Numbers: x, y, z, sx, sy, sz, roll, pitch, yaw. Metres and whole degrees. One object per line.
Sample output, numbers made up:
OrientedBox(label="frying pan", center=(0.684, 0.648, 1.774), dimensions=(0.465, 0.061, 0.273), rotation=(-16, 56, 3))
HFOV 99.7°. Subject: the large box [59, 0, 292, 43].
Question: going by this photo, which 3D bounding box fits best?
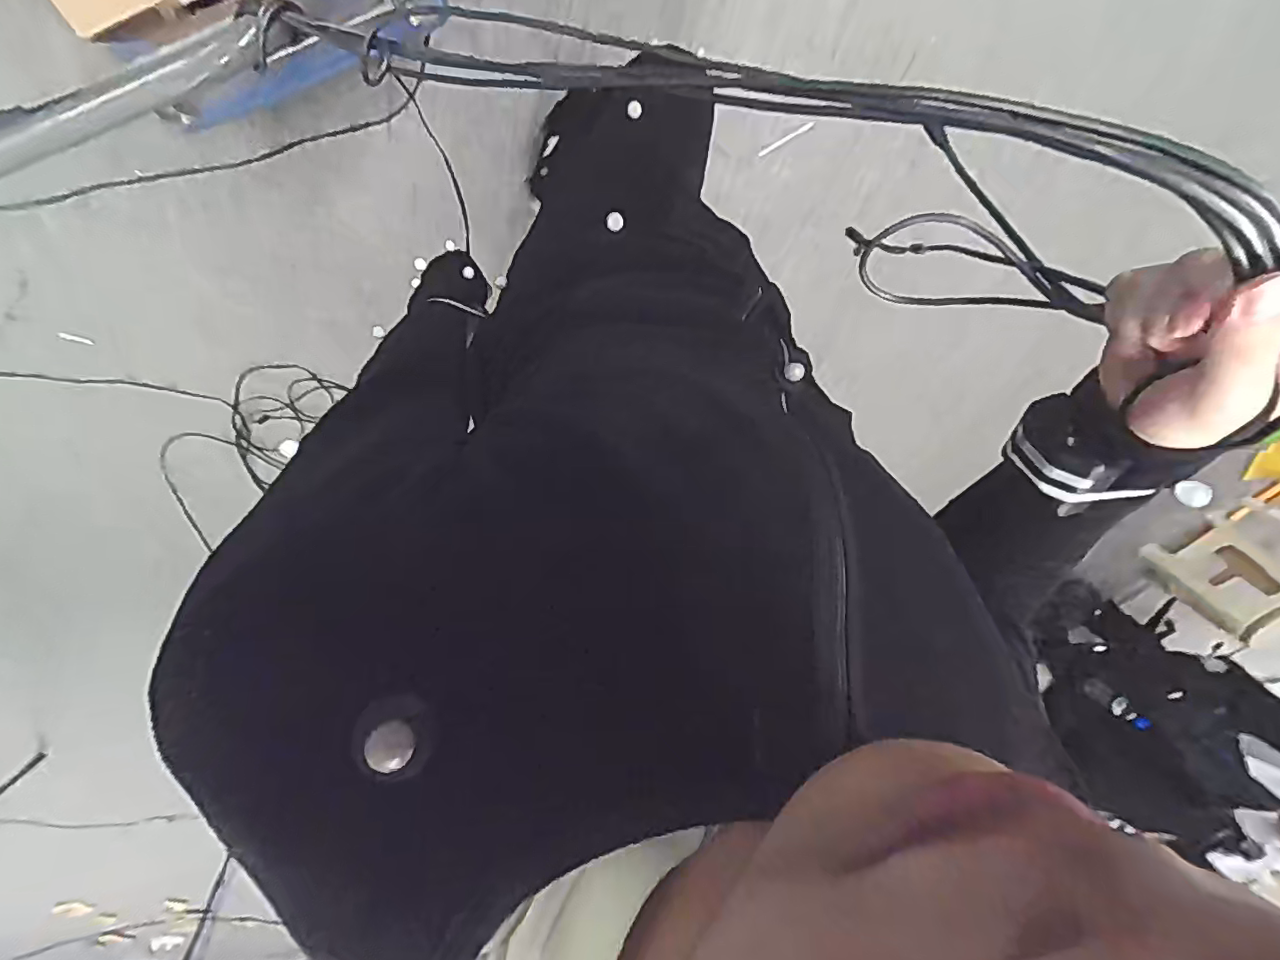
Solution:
OrientedBox(label="large box", center=(-0.667, -0.869, 0.696), dimensions=(0.320, 0.320, 0.408), rotation=(-18, 127, 6))
